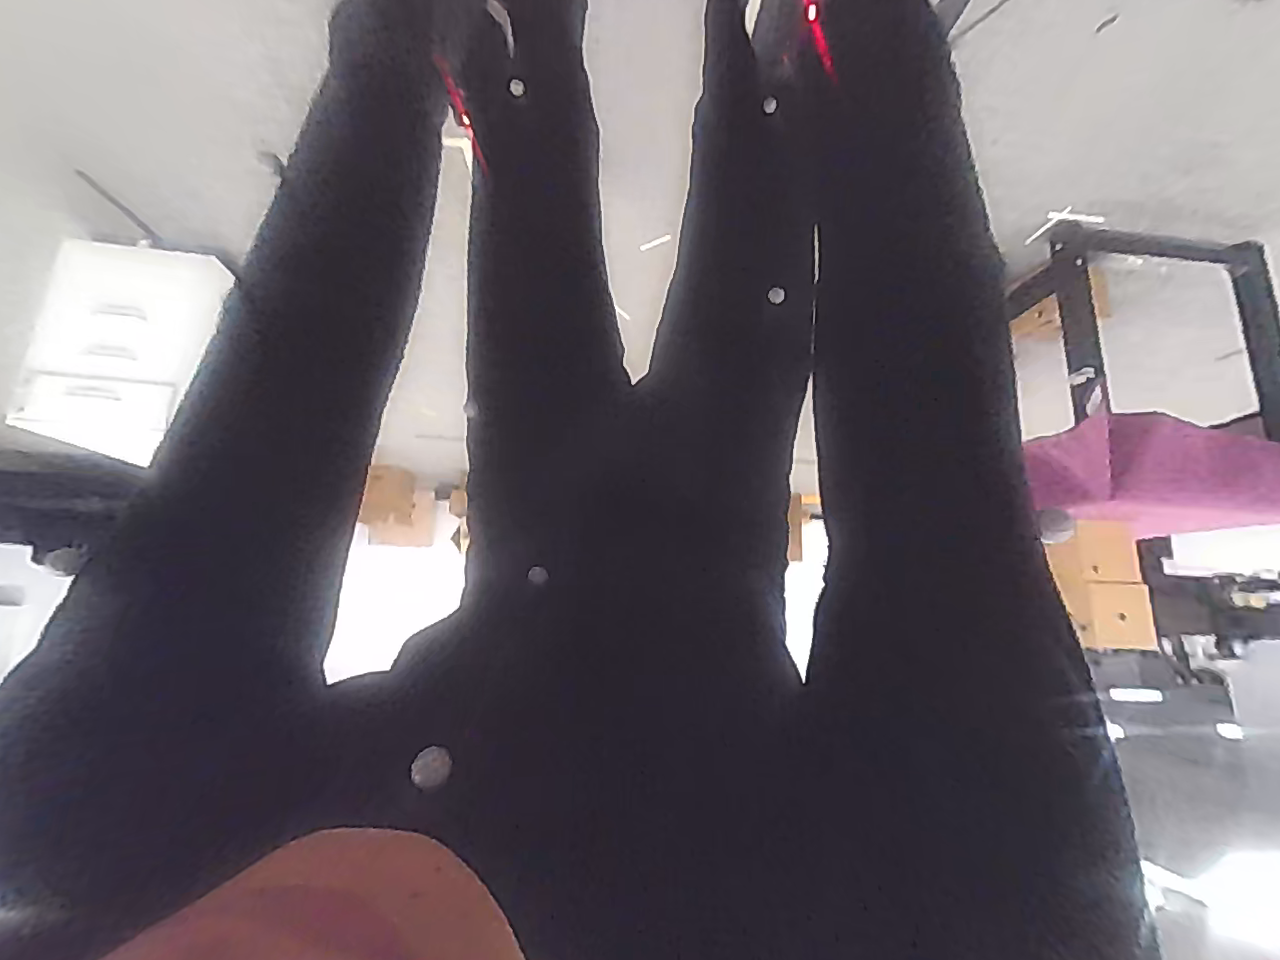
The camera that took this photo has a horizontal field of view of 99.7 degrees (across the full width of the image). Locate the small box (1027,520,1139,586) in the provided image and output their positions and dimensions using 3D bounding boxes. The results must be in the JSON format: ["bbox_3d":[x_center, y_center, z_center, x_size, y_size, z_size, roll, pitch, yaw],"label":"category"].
[{"bbox_3d":[1.224,0.204,1.505,0.179,0.176,0.168,4,167,-6],"label":"small box"}]
